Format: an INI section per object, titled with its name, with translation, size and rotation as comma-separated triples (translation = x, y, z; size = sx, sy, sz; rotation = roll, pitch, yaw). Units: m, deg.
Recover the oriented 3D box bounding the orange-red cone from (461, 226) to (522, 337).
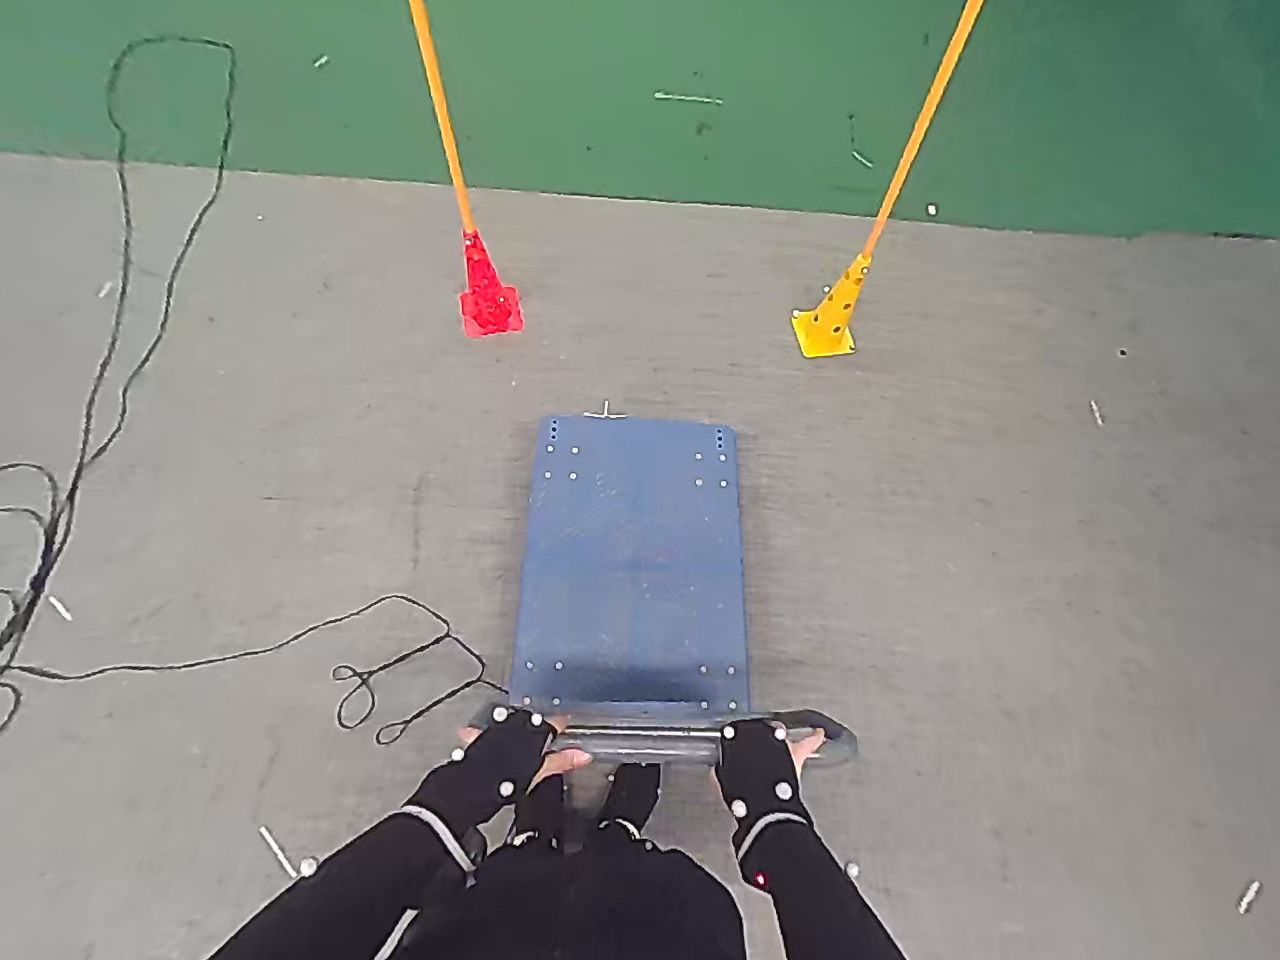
[orange-red cone]
translation = -0.512, -0.657, 1.736
size = 0.199, 0.360, 0.198
rotation = -11, 68, -7
